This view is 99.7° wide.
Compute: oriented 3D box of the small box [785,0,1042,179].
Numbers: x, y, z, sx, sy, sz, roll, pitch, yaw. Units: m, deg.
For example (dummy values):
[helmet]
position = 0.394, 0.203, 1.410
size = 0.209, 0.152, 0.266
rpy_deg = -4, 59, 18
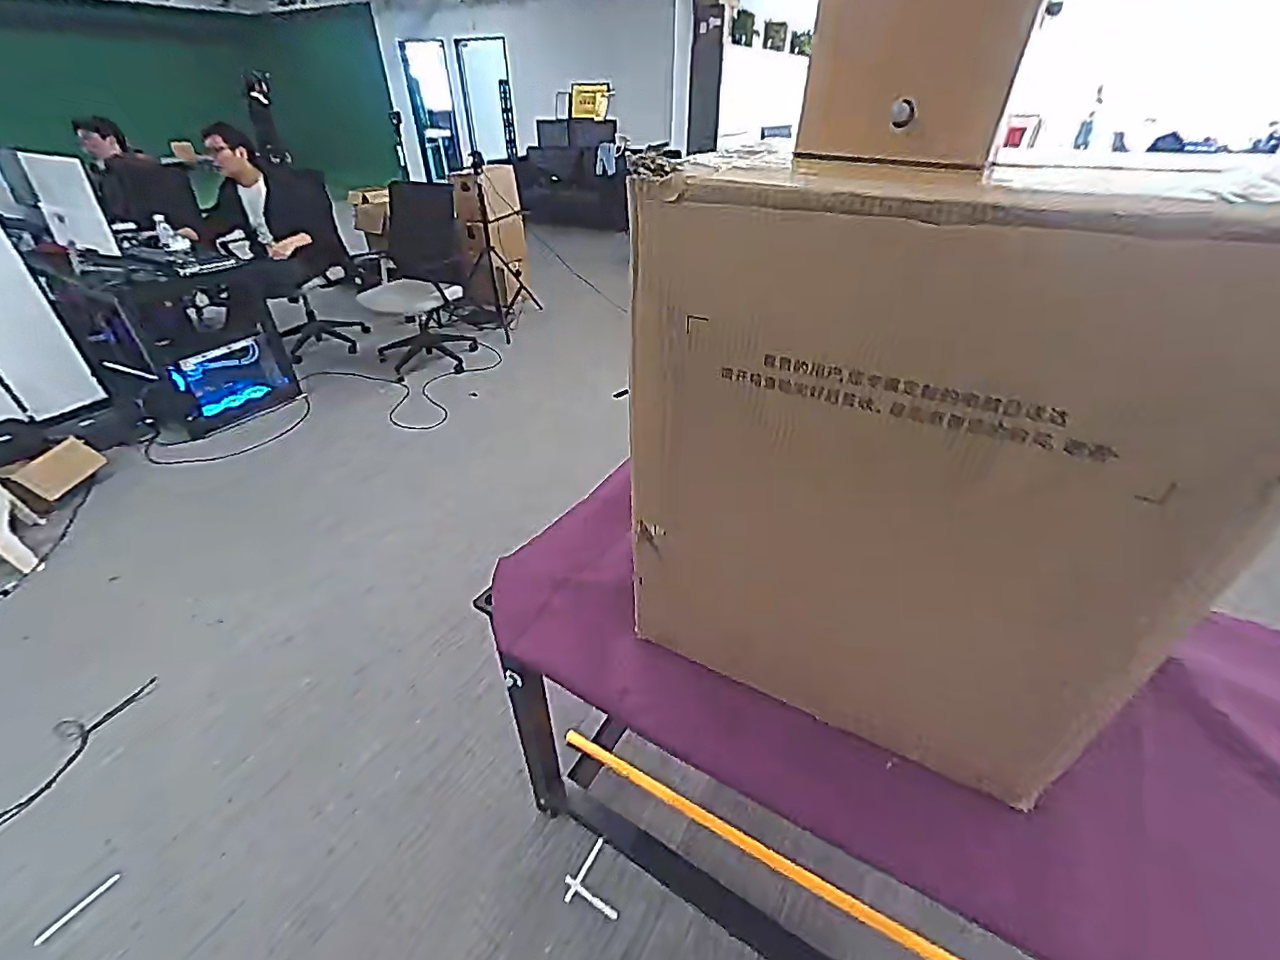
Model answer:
[small box]
position = 0.262, -0.398, 0.518
size = 0.179, 0.176, 0.168
rpy_deg = 20, 41, 26
